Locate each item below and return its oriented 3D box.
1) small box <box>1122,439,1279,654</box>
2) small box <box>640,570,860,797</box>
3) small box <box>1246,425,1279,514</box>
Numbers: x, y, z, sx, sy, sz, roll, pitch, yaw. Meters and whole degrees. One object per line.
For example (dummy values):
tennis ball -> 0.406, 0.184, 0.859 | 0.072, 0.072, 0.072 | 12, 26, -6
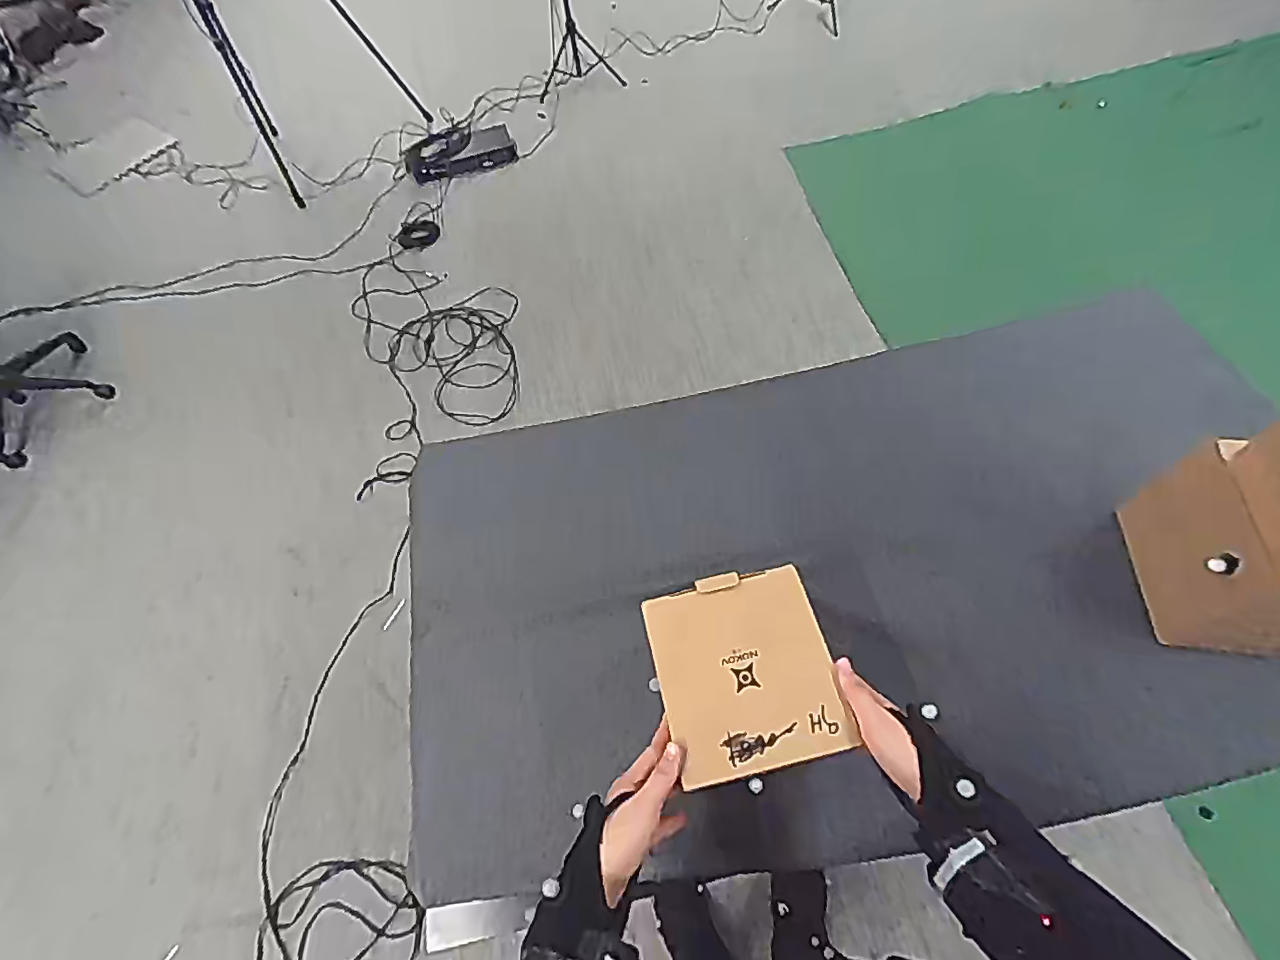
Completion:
small box -> 0.666, 0.078, 0.565 | 0.168, 0.176, 0.179 | 4, 60, 10
small box -> 0.102, 0.220, 0.575 | 0.168, 0.176, 0.179 | -14, 61, -1
small box -> 0.665, 0.003, 0.420 | 0.168, 0.176, 0.179 | 0, 59, 7
